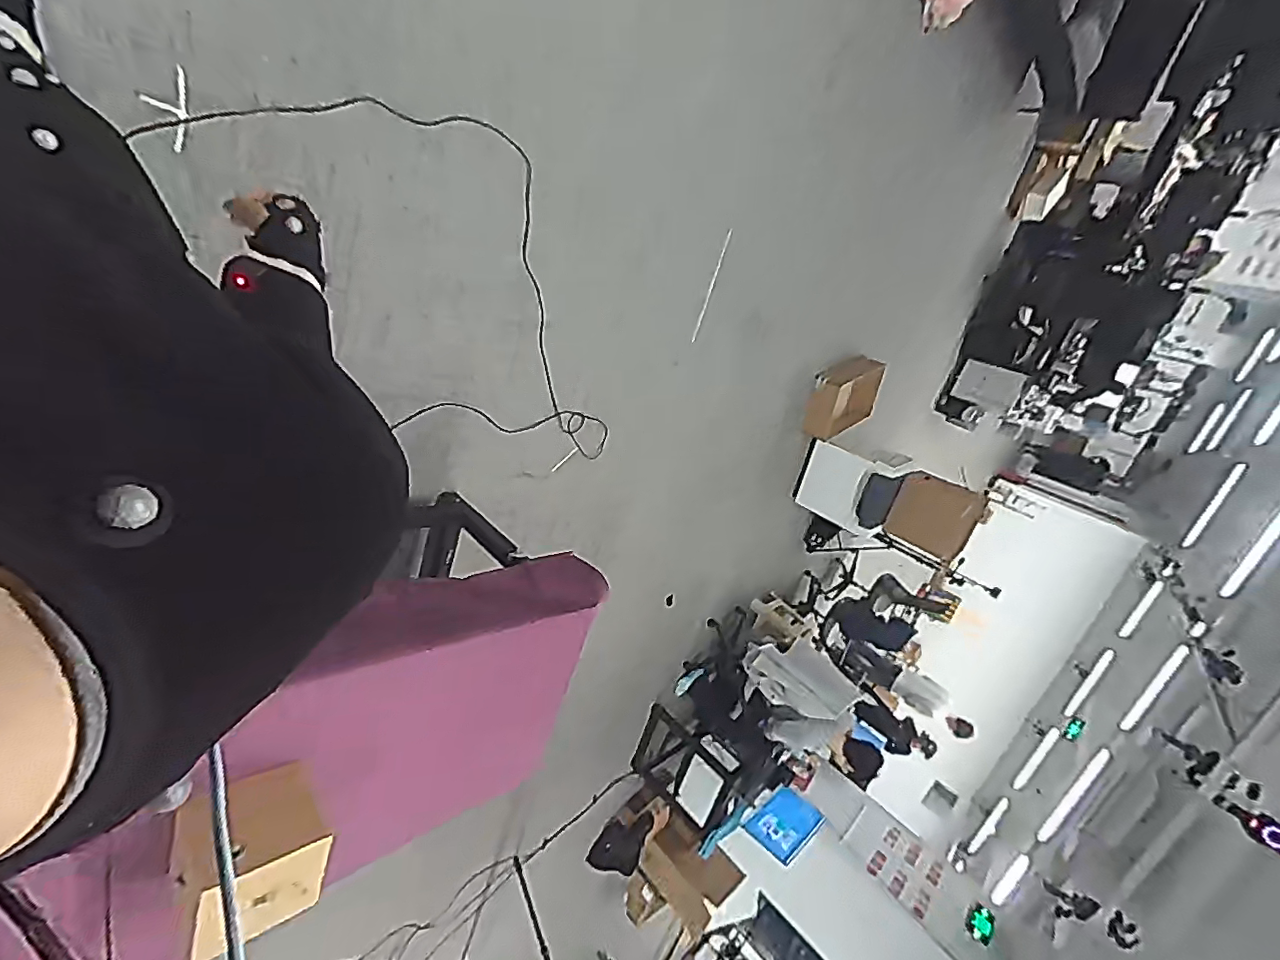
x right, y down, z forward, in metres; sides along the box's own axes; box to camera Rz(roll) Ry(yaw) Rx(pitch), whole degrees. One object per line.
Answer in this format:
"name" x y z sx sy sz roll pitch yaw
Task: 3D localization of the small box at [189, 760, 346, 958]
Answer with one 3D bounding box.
"small box" -0.625 0.614 0.901 0.179 0.176 0.168 0 116 -49
